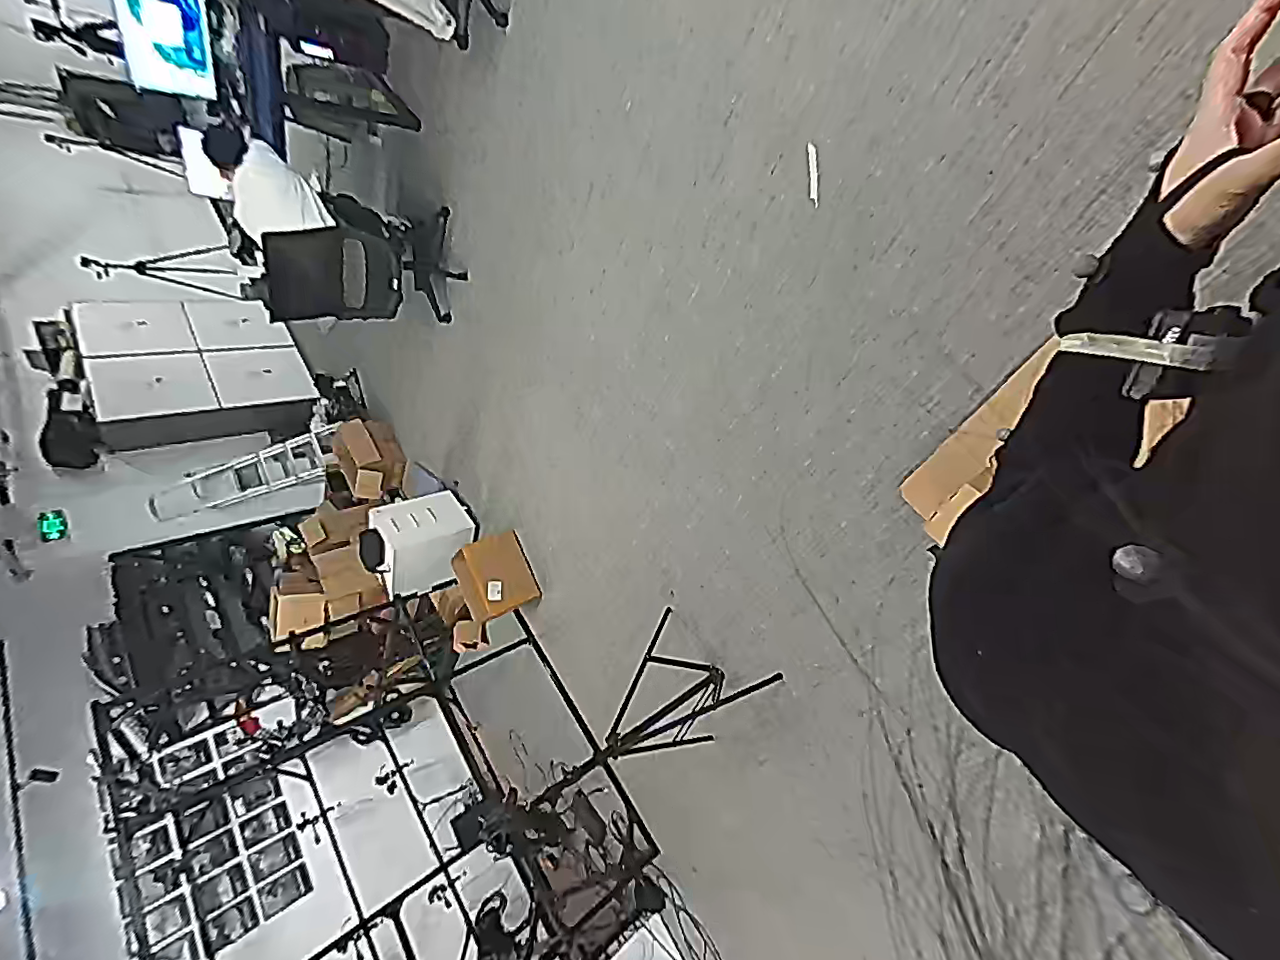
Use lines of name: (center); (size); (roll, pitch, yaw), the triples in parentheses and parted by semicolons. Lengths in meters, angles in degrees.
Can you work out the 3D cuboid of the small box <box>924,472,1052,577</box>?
small box: (0.837, 0.097, 1.302); (0.179, 0.176, 0.168); (48, 135, 27)
